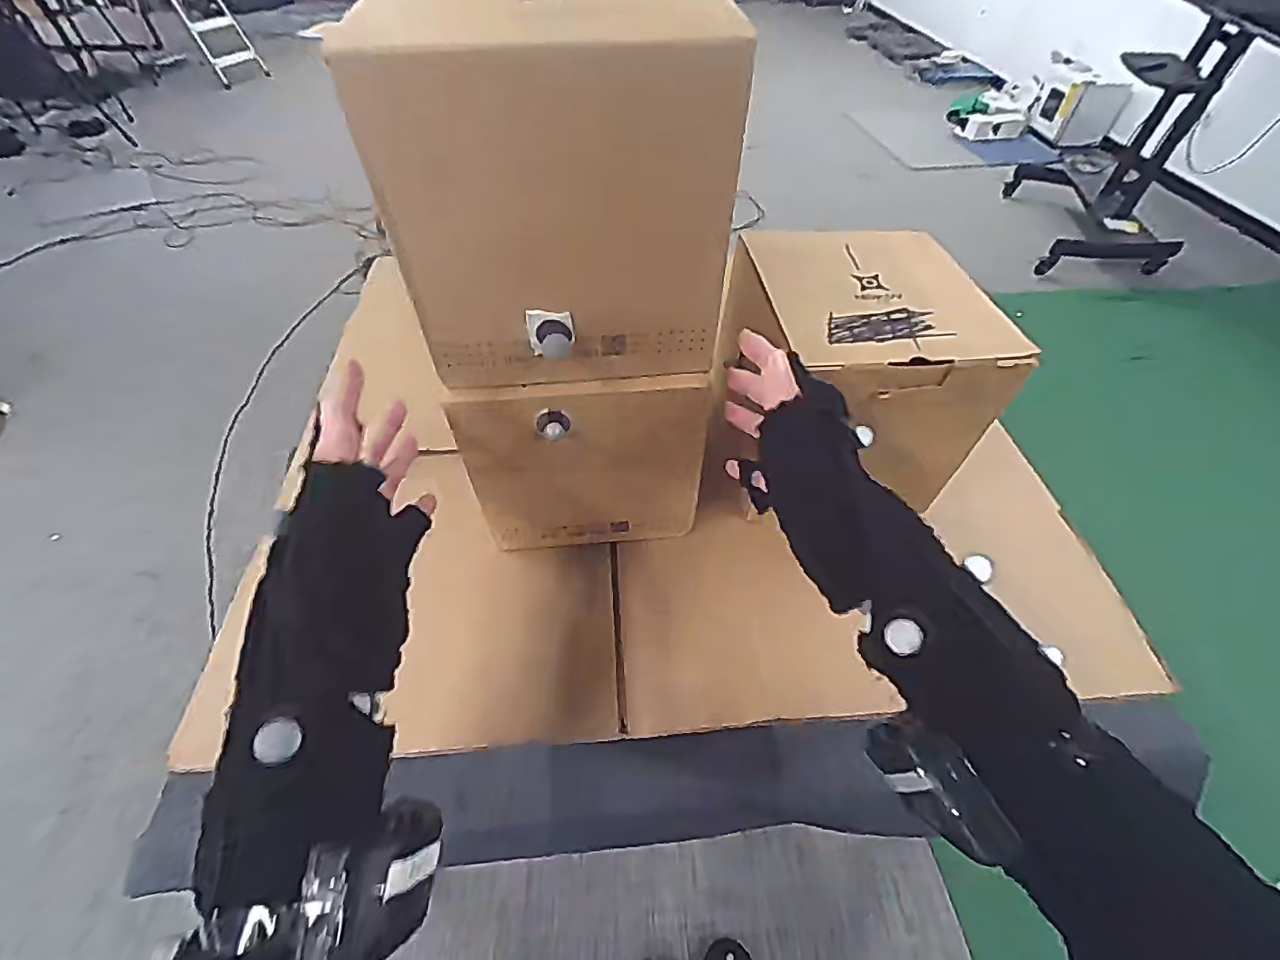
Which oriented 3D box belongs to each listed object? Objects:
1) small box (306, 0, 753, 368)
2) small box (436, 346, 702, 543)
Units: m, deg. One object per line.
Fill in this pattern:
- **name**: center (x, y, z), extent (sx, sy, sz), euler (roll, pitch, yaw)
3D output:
- **small box**: center (-0.049, -0.187, 0.310), extent (0.168, 0.176, 0.179), euler (-7, 53, -5)
- **small box**: center (-0.048, -0.069, 0.442), extent (0.168, 0.176, 0.179), euler (-5, 51, -2)
